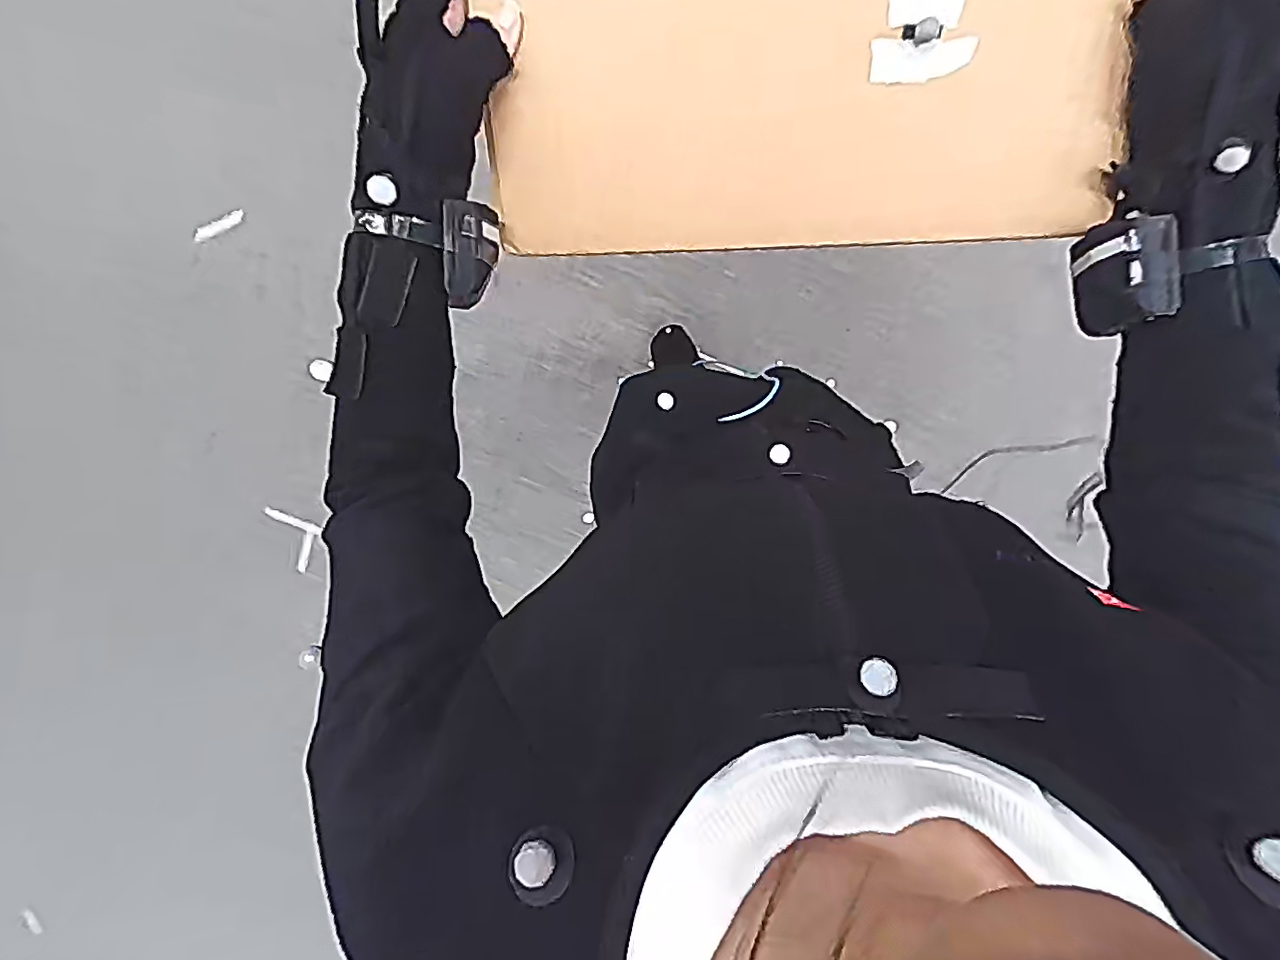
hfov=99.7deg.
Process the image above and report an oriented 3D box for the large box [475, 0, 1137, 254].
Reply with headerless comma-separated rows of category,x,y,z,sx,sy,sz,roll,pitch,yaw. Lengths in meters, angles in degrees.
large box,0.101,-0.377,0.452,0.408,0.320,0.320,-1,116,5
